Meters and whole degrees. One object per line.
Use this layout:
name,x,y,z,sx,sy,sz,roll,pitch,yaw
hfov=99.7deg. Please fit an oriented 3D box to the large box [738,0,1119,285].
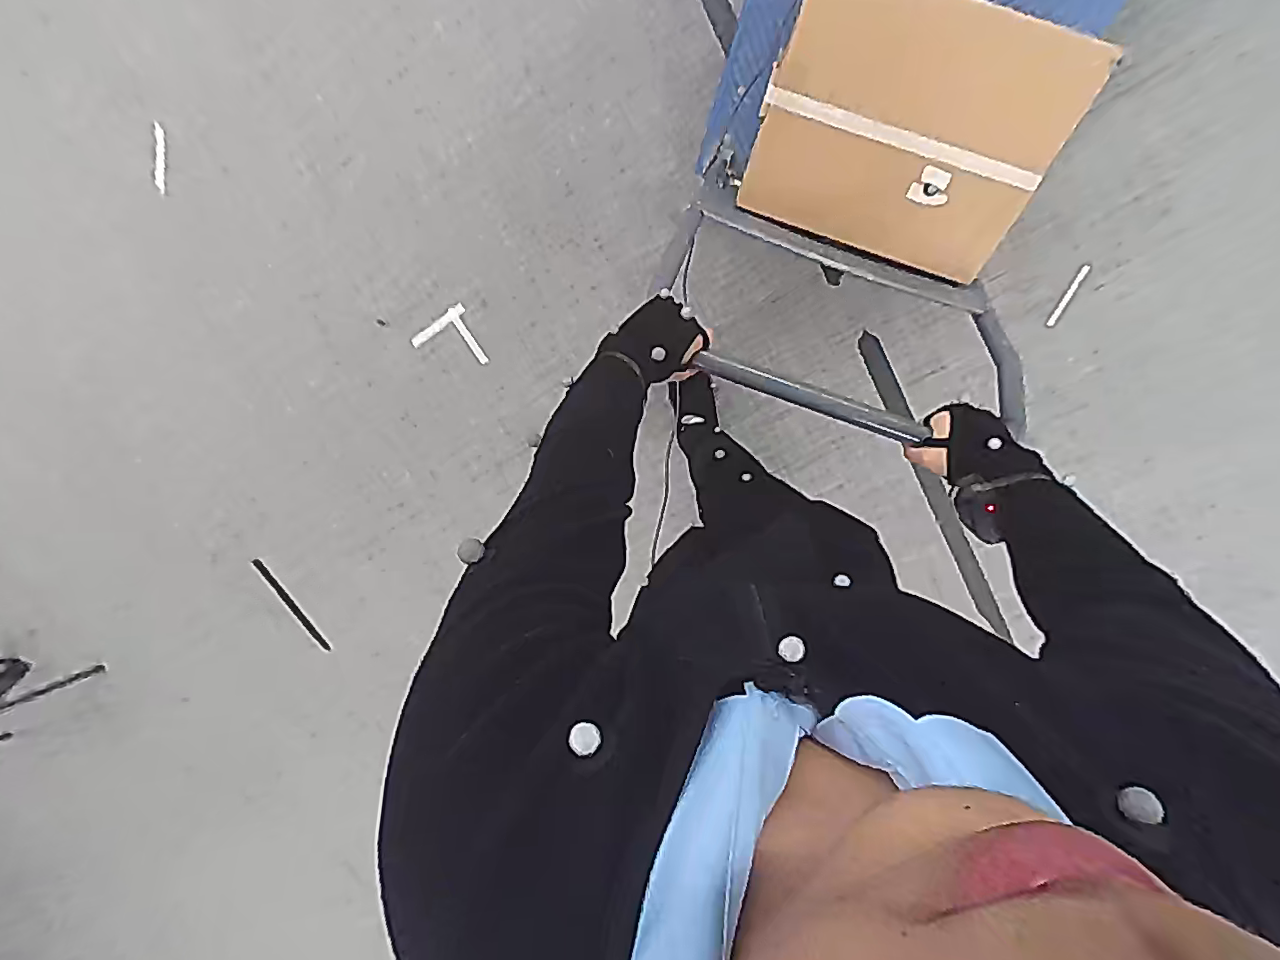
large box,0.407,-0.574,0.885,0.408,0.320,0.320,19,132,0
